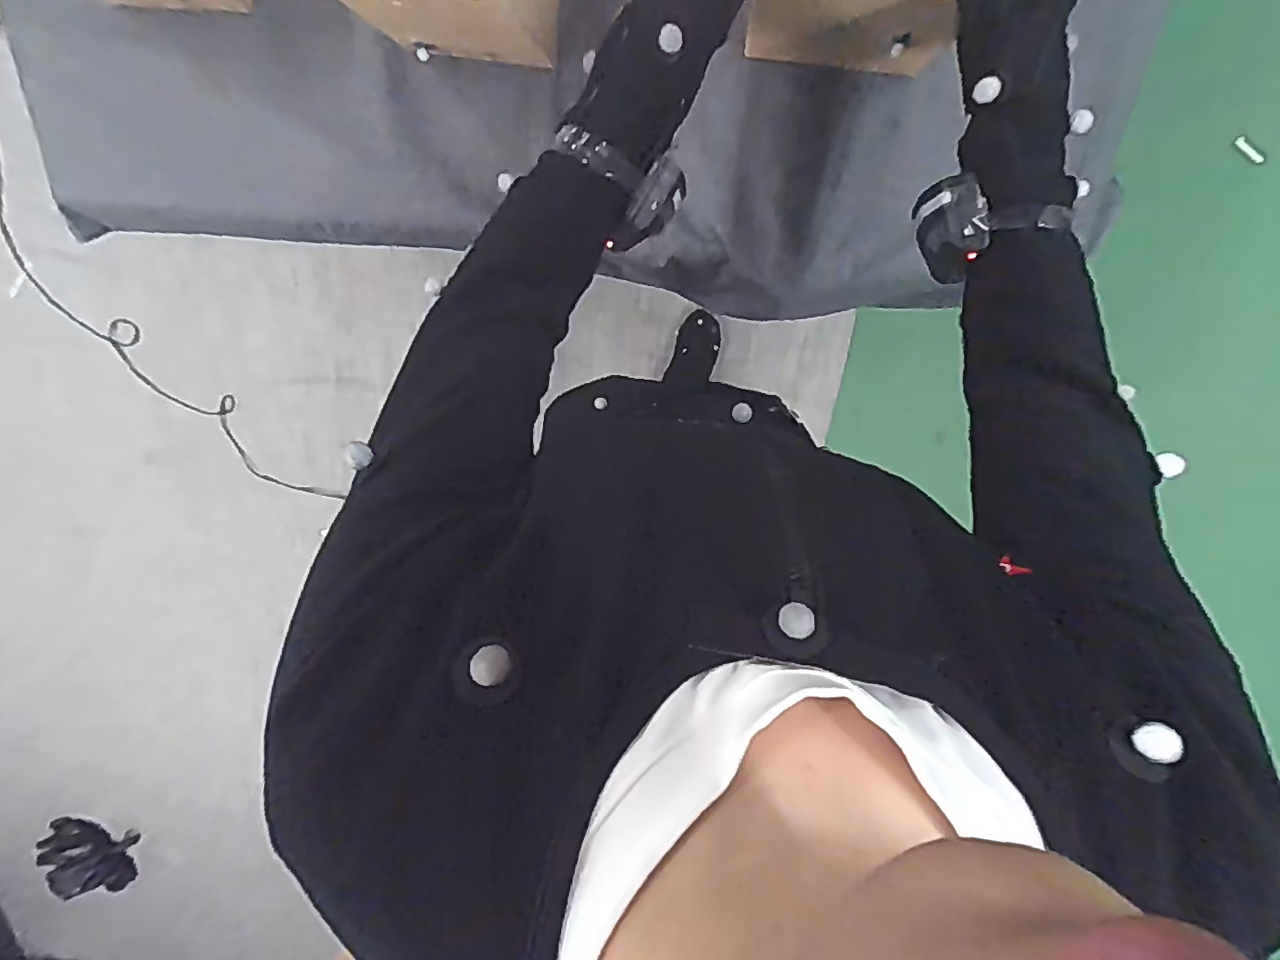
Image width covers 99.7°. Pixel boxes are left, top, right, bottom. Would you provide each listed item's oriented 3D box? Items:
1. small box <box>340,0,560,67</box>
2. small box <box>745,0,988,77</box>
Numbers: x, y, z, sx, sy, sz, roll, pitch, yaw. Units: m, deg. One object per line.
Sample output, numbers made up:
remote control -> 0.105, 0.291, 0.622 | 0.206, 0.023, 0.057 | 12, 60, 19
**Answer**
small box -> -0.167, -0.499, 0.477 | 0.168, 0.176, 0.179 | 9, 111, 3
small box -> 0.191, -0.464, 0.451 | 0.179, 0.176, 0.168 | 9, 111, 5
